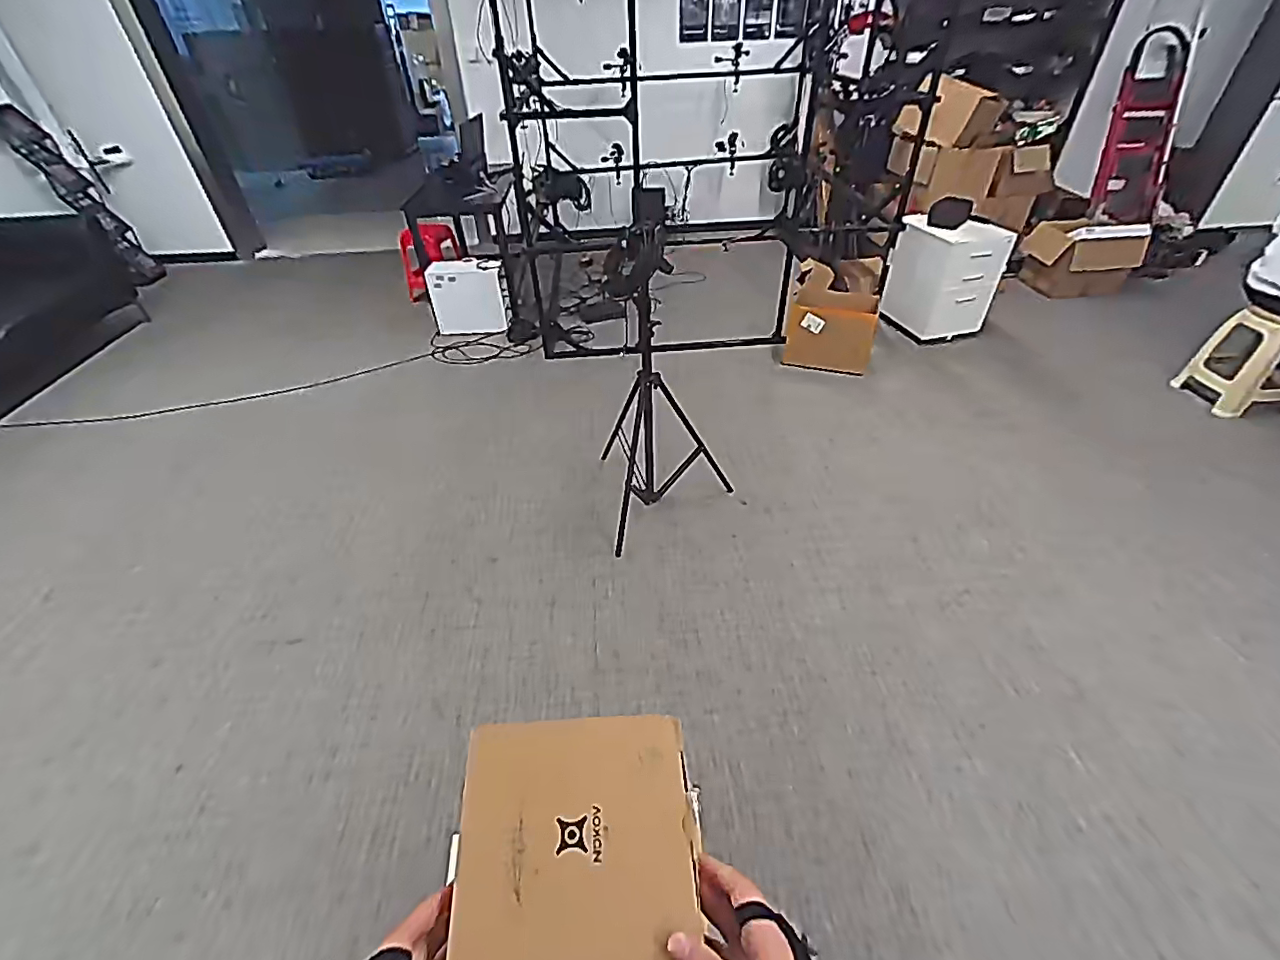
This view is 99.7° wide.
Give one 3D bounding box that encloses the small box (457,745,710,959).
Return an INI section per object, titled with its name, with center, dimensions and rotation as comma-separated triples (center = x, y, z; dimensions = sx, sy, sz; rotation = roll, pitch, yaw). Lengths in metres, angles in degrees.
[small box]
center = -0.047, 0.340, 0.466
dimensions = 0.179, 0.176, 0.168
rotation = -3, 52, -5
